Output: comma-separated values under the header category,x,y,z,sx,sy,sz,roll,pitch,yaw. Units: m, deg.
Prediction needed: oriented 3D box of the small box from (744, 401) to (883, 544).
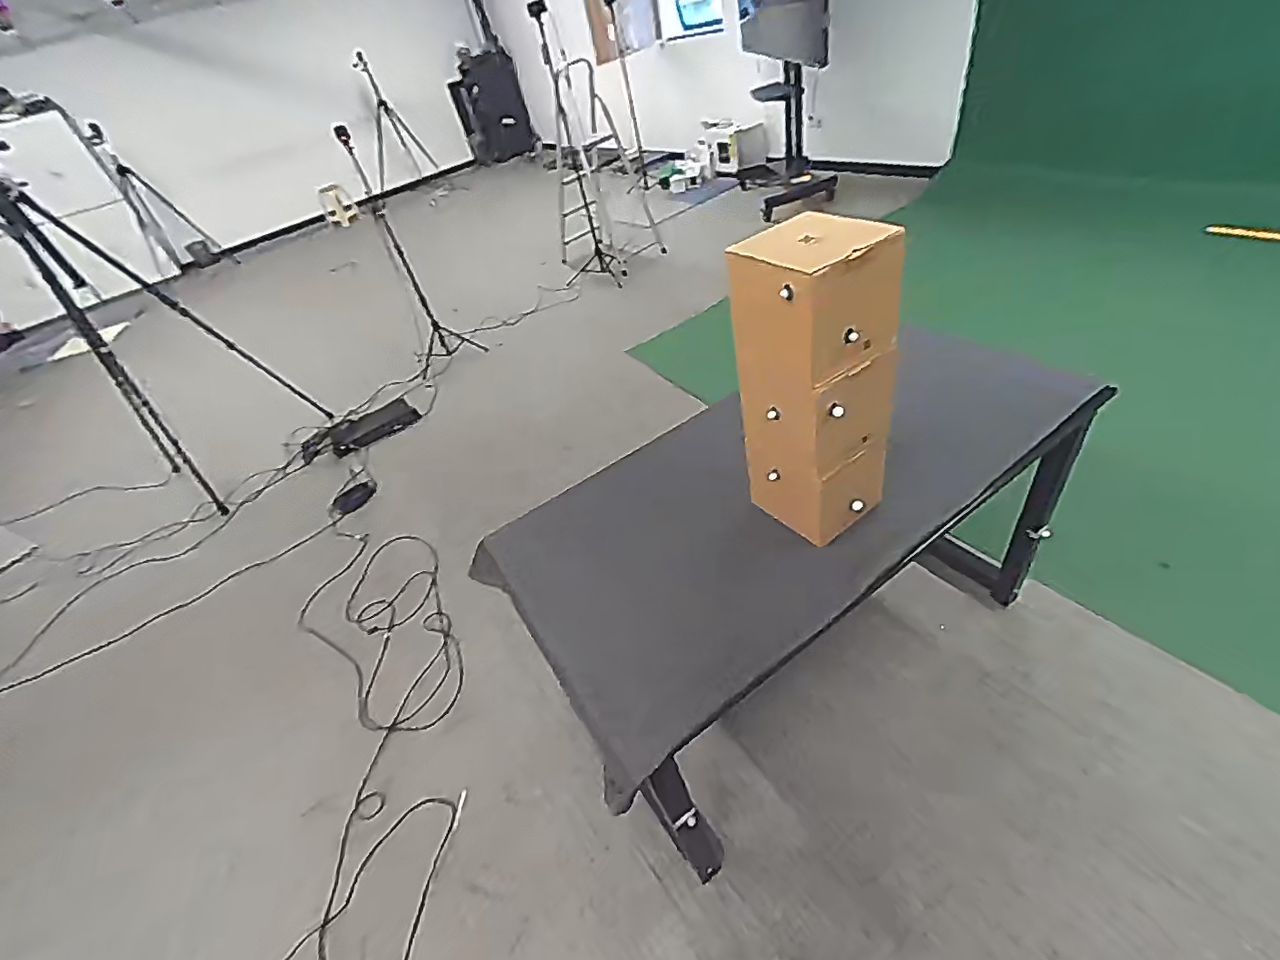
category,x,y,z,sx,sy,sz,roll,pitch,yaw
small box,0.314,-0.014,0.994,0.168,0.176,0.179,-33,44,-19

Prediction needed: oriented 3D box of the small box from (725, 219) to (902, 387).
category,x,y,z,sx,sy,sz,roll,pitch,yaw
small box,0.246,-0.259,0.789,0.168,0.176,0.179,-30,43,-17
